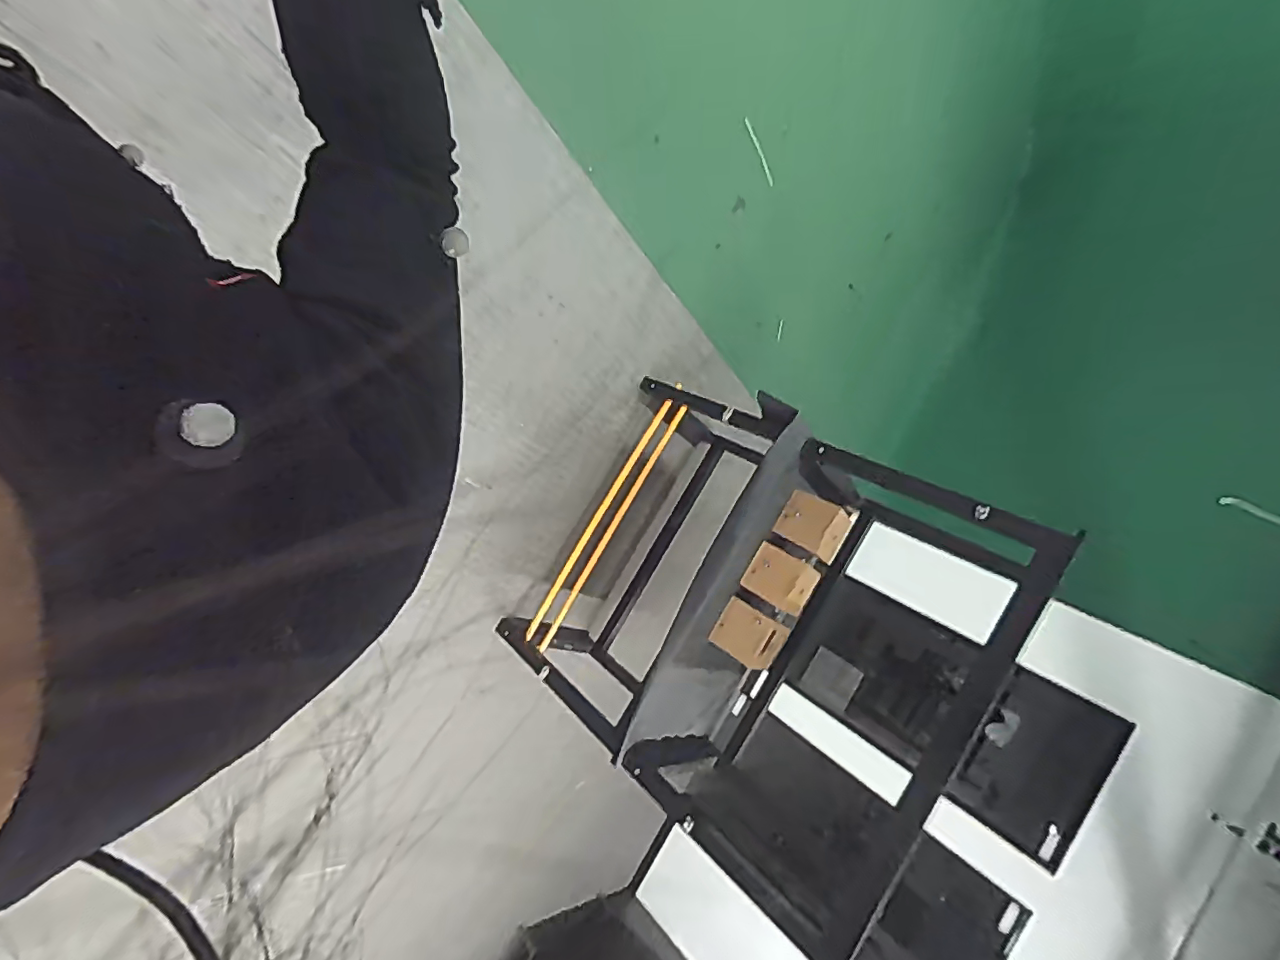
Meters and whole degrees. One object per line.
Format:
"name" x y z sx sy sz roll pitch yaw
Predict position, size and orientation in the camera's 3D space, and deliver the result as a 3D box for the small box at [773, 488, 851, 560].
"small box" 0.576 0.146 1.817 0.179 0.176 0.168 32 87 -52
